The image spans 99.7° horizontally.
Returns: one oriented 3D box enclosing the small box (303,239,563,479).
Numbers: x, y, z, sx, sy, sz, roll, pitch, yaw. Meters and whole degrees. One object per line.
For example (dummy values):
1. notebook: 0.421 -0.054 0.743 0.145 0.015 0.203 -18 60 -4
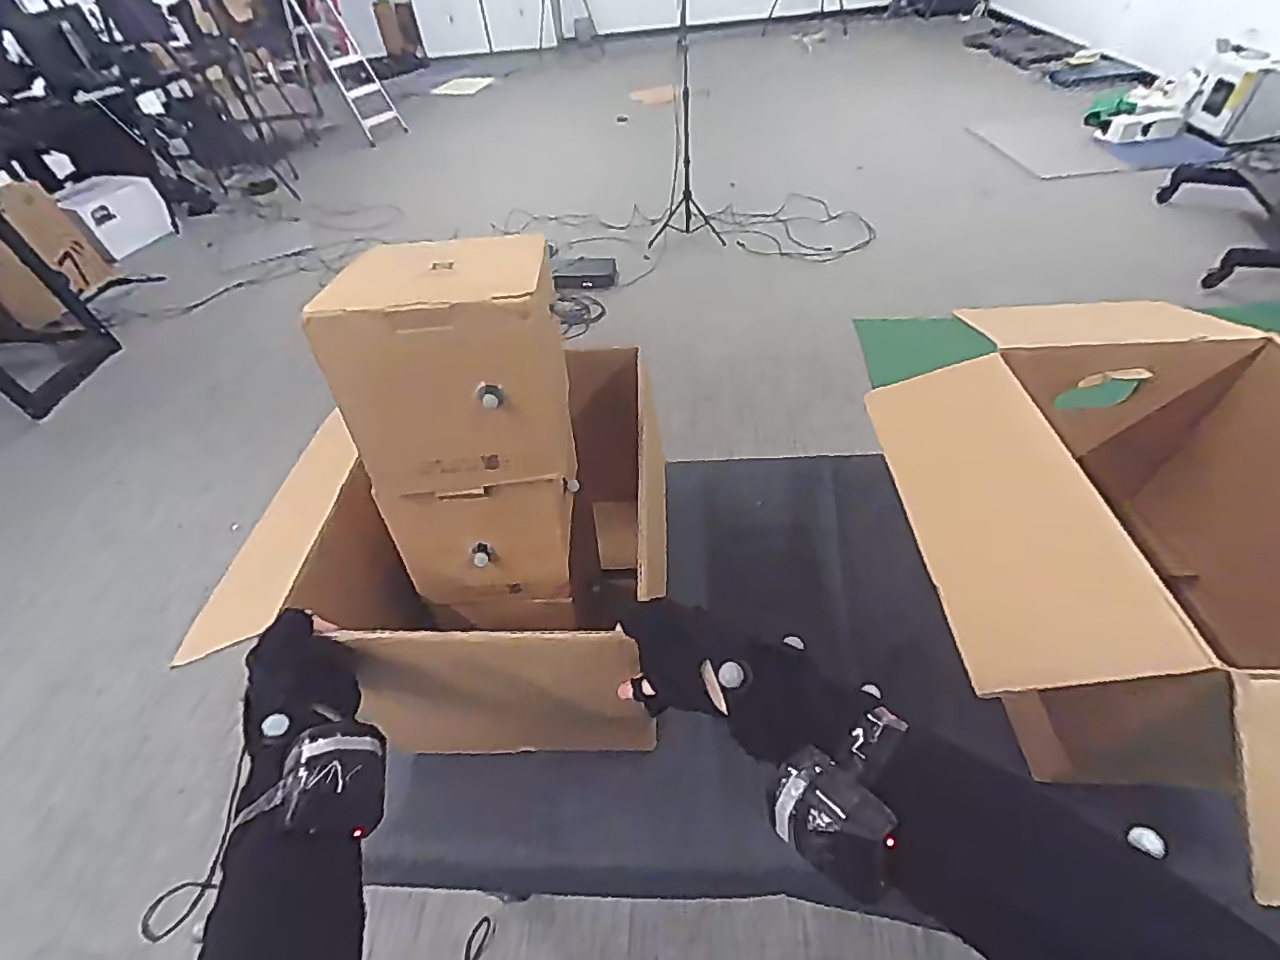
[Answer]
1. small box: -0.165 -0.111 0.505 0.168 0.176 0.179 -4 37 -2
